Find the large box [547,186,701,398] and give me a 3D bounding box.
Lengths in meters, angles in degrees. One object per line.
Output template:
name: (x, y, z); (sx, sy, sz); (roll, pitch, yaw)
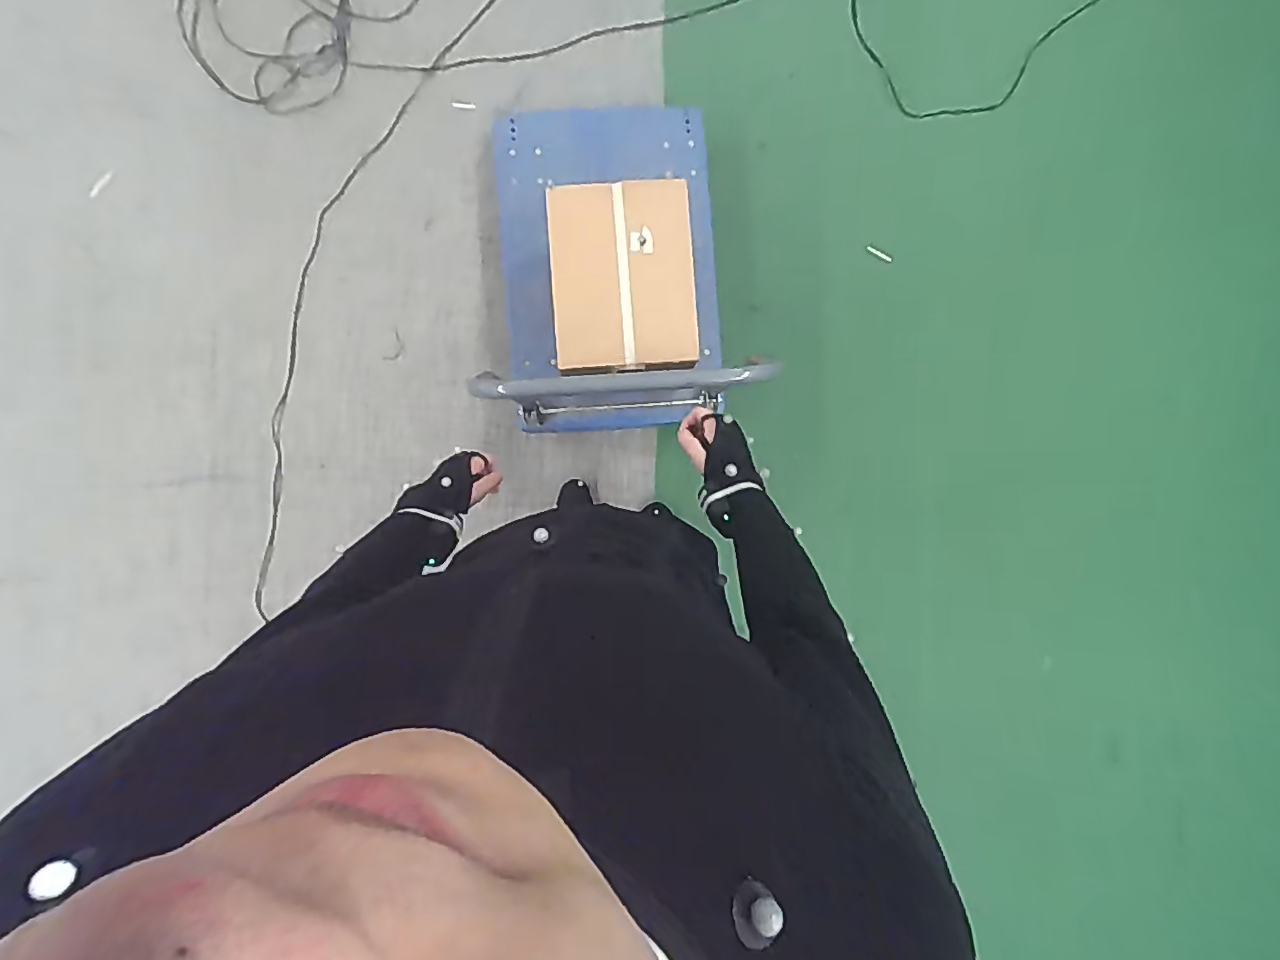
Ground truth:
large box: (-0.039, -0.436, 1.331); (0.320, 0.320, 0.408); (-4, 88, -3)
